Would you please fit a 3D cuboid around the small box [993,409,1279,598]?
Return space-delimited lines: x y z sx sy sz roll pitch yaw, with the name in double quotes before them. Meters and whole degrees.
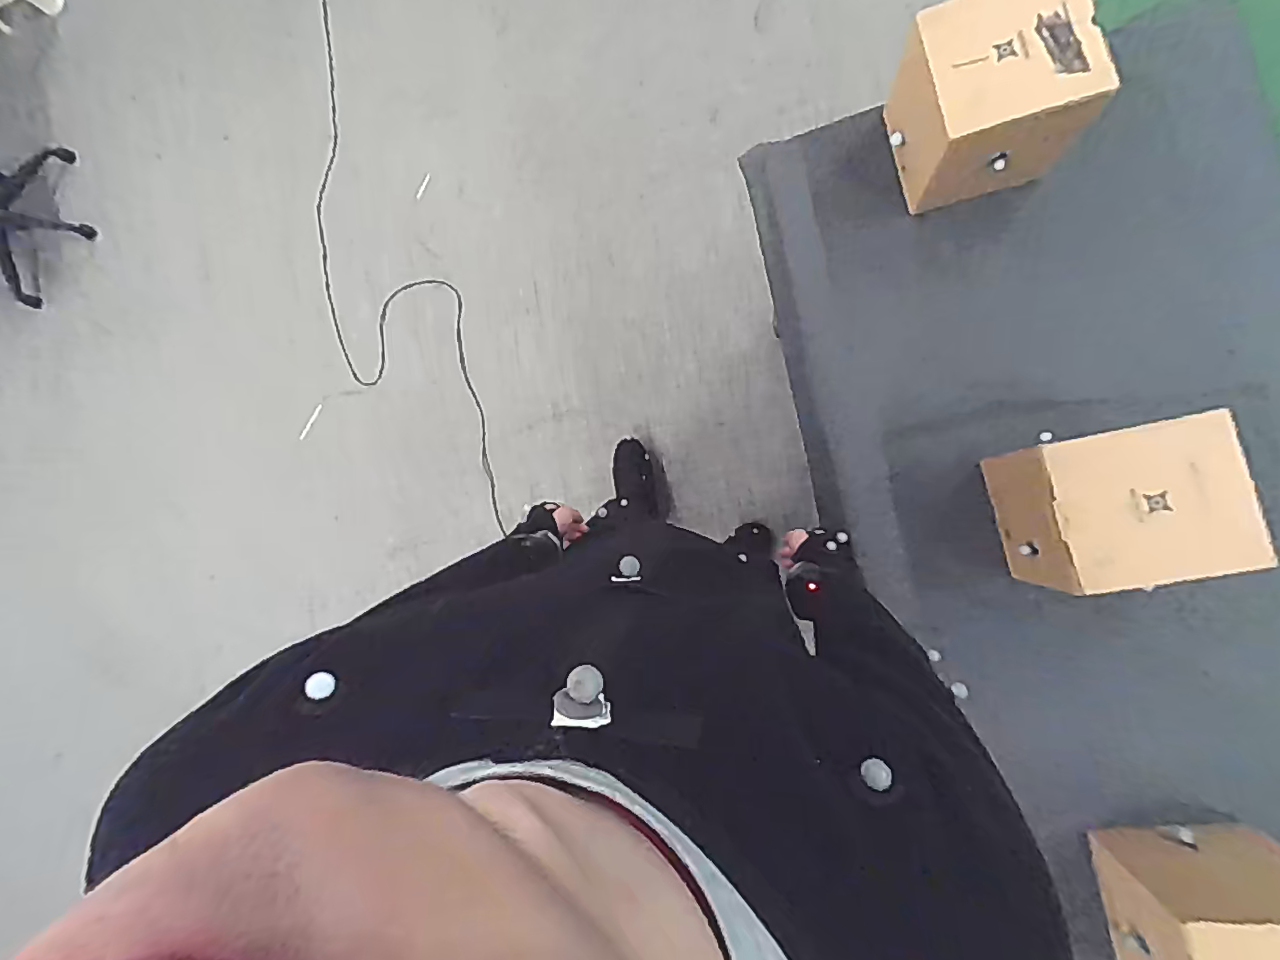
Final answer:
"small box" 0.540 0.030 0.623 0.179 0.176 0.168 -13 85 11

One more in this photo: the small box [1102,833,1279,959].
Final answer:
"small box" 0.637 0.503 0.572 0.179 0.176 0.168 -10 84 13

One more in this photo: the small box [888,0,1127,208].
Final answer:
"small box" 0.433 -0.475 0.670 0.179 0.176 0.168 -12 85 12
